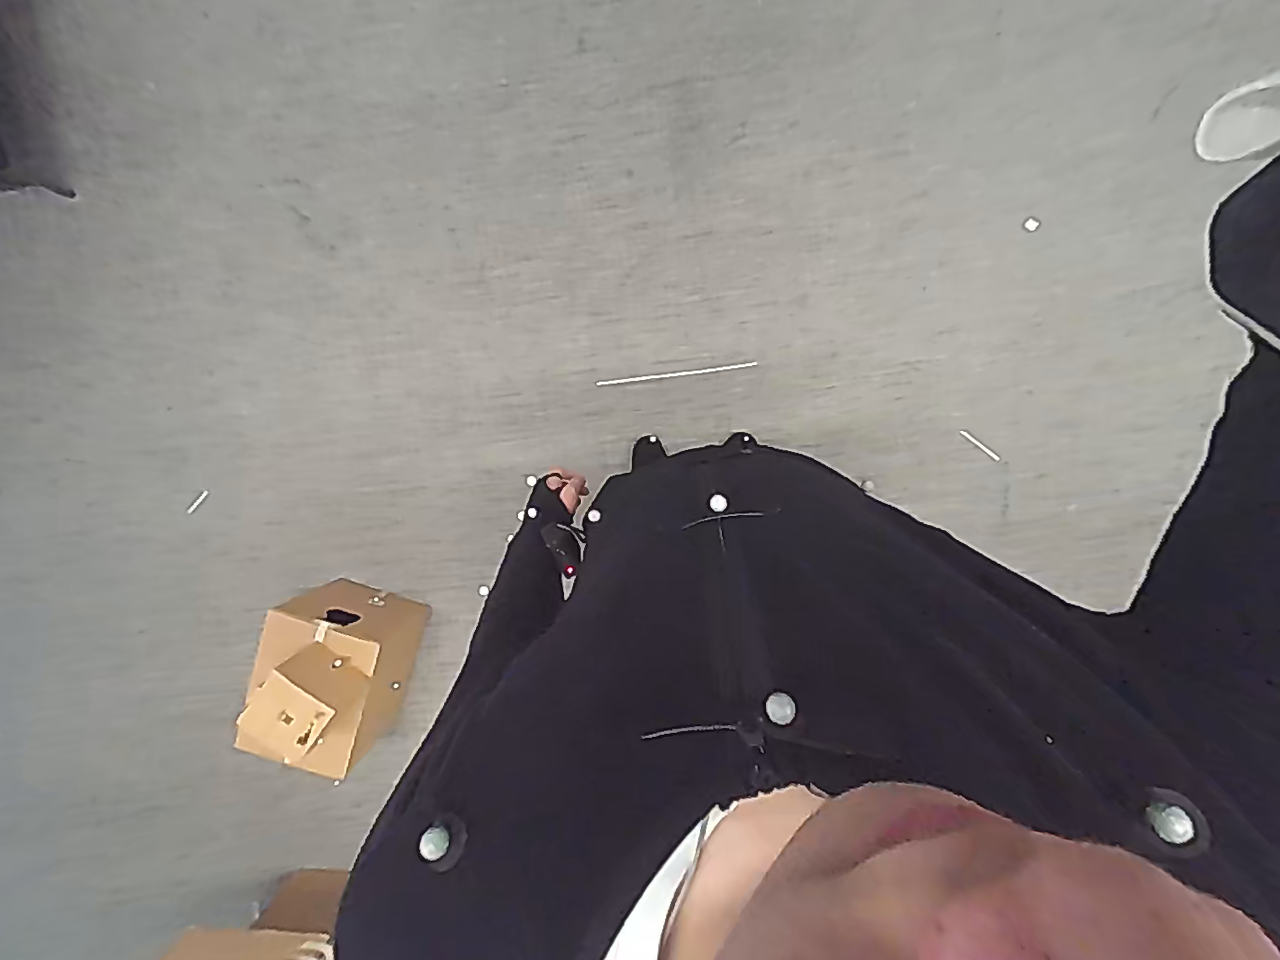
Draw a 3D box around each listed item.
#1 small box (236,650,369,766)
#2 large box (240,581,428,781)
[{"bbox_3d":[-0.808,0.540,1.313,0.179,0.176,0.168,37,95,-2],"label":"small box"},{"bbox_3d":[-0.861,0.556,1.564,0.320,0.320,0.408,17,96,2],"label":"large box"}]
